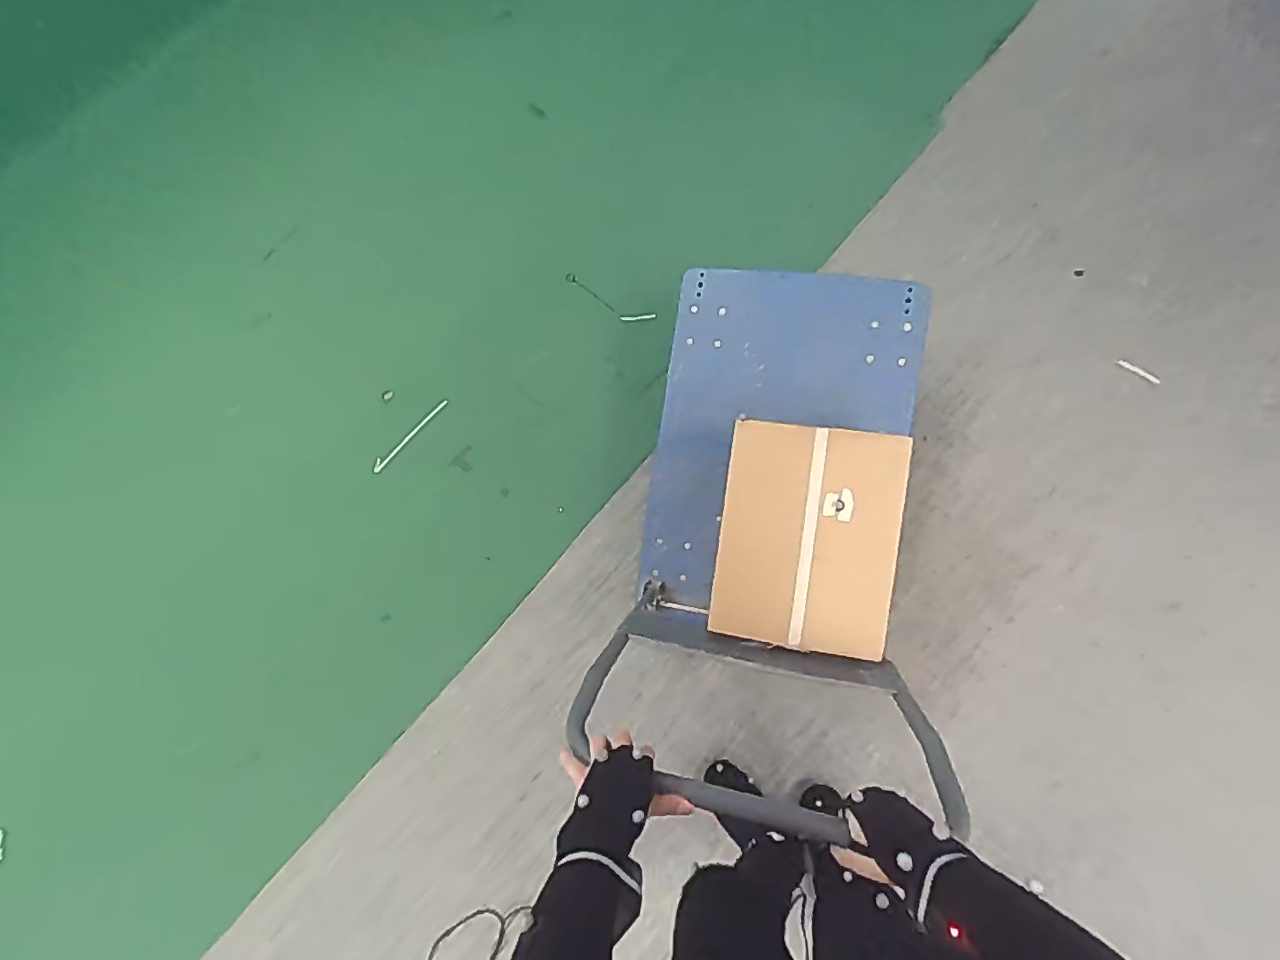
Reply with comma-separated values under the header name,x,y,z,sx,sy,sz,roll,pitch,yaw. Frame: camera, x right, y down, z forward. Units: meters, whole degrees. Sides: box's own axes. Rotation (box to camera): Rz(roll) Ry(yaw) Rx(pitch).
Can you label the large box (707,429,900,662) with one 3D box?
name,x,y,z,sx,sy,sz,roll,pitch,yaw
large box,0.330,0.121,1.151,0.320,0.320,0.408,8,90,11
